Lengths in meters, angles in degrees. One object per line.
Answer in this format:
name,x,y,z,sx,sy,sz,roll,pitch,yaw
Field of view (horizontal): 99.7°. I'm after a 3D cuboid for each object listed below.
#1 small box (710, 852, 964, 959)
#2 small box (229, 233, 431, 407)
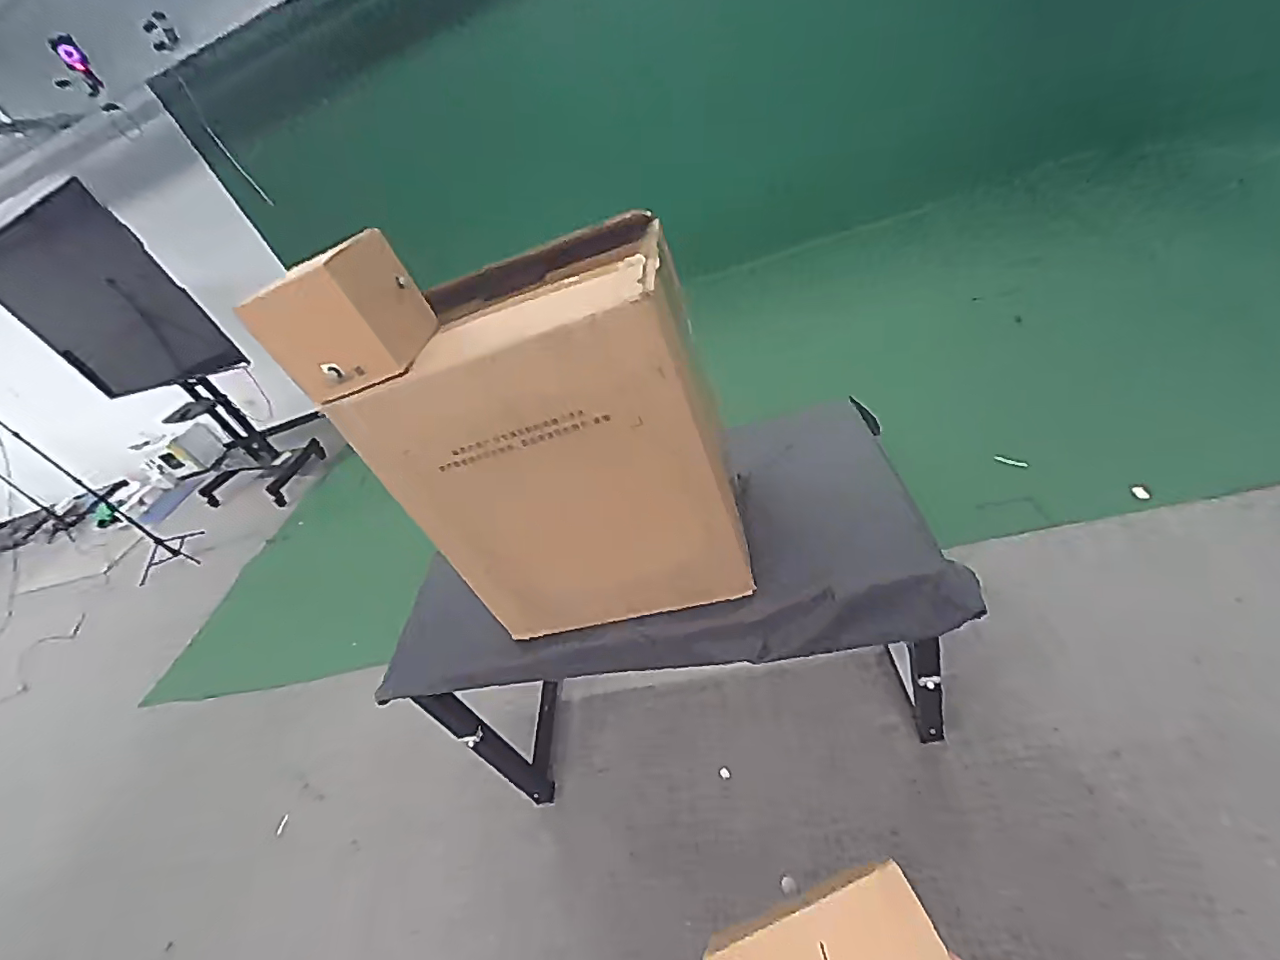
small box,0.168,0.422,0.422,0.168,0.176,0.179,-22,53,-7
small box,-0.447,-0.239,0.816,0.168,0.176,0.179,-18,37,14
